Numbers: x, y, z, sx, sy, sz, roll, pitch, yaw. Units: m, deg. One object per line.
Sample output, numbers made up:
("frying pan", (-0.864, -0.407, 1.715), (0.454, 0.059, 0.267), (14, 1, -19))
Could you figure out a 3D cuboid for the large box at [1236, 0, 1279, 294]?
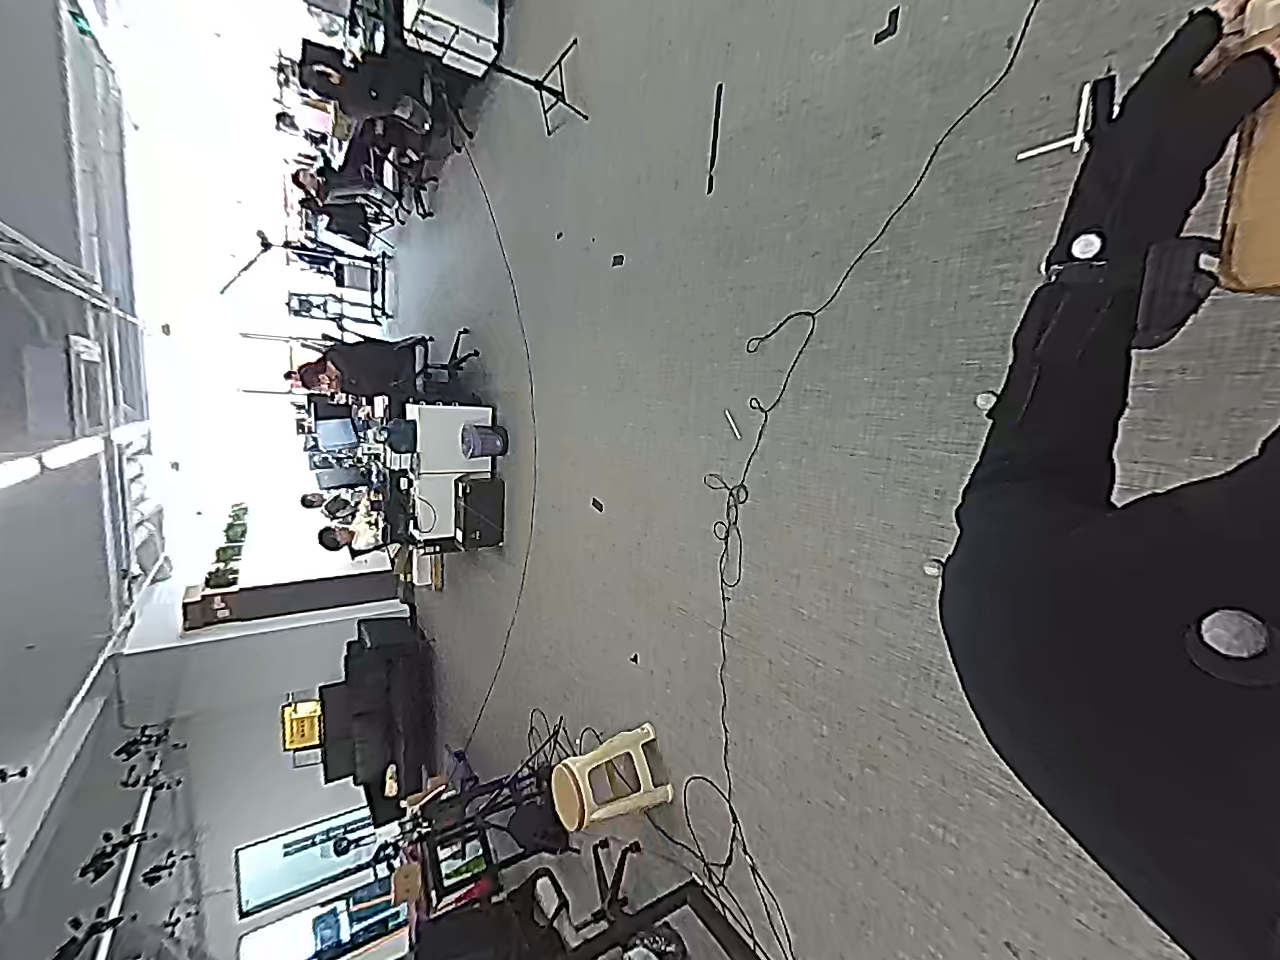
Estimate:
("large box", (0.608, -0.274, 0.250), (0.408, 0.320, 0.320), (13, 112, 51))
